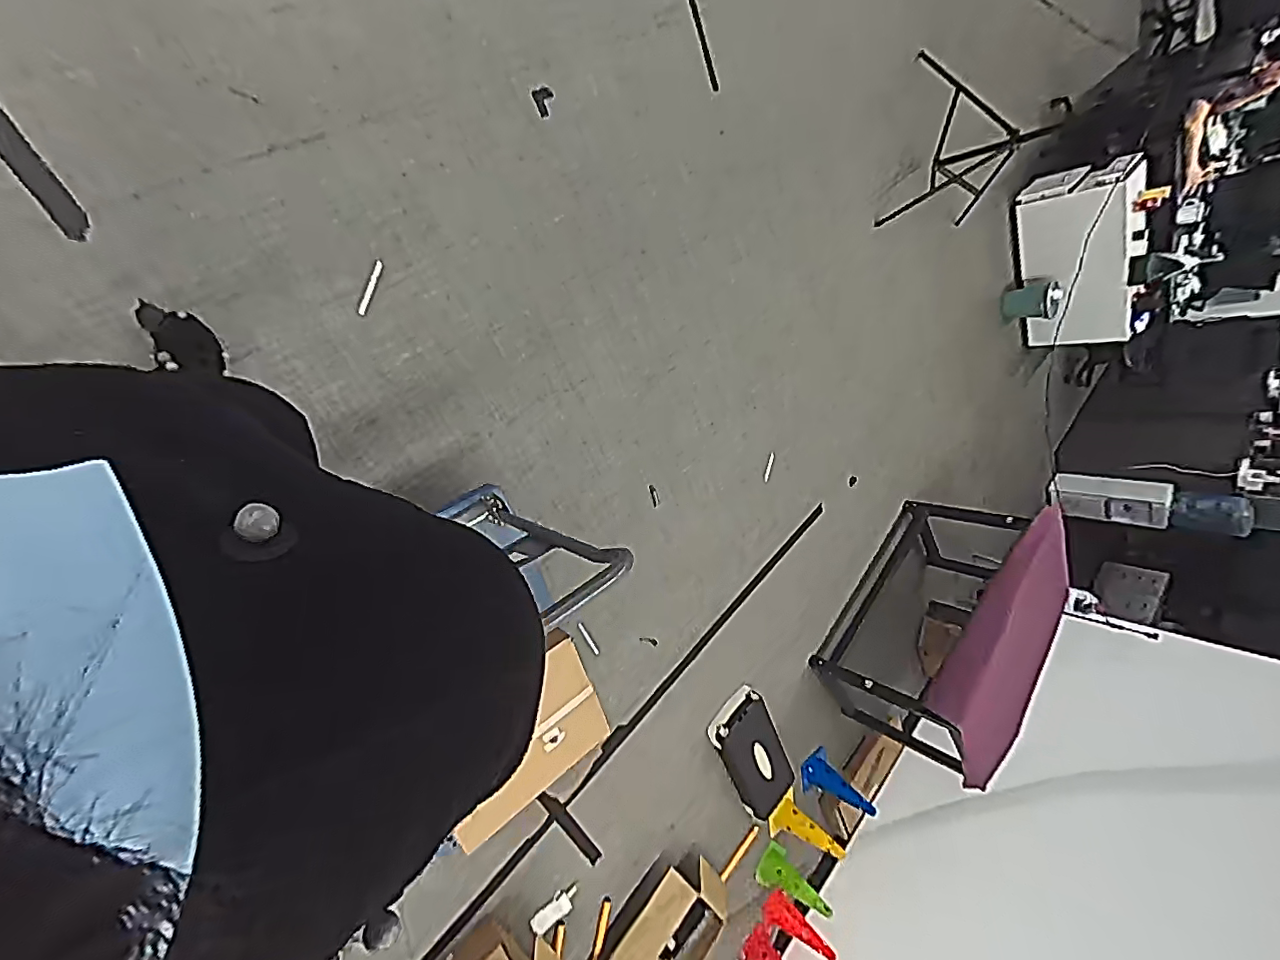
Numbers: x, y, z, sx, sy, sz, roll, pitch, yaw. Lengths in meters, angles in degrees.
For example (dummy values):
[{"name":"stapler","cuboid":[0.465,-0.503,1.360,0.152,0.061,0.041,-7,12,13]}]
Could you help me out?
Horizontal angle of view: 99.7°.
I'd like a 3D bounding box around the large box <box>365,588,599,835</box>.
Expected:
[{"name":"large box","cuboid":[-0.383,0.533,1.332,0.408,0.320,0.320,-32,116,-31]}]
